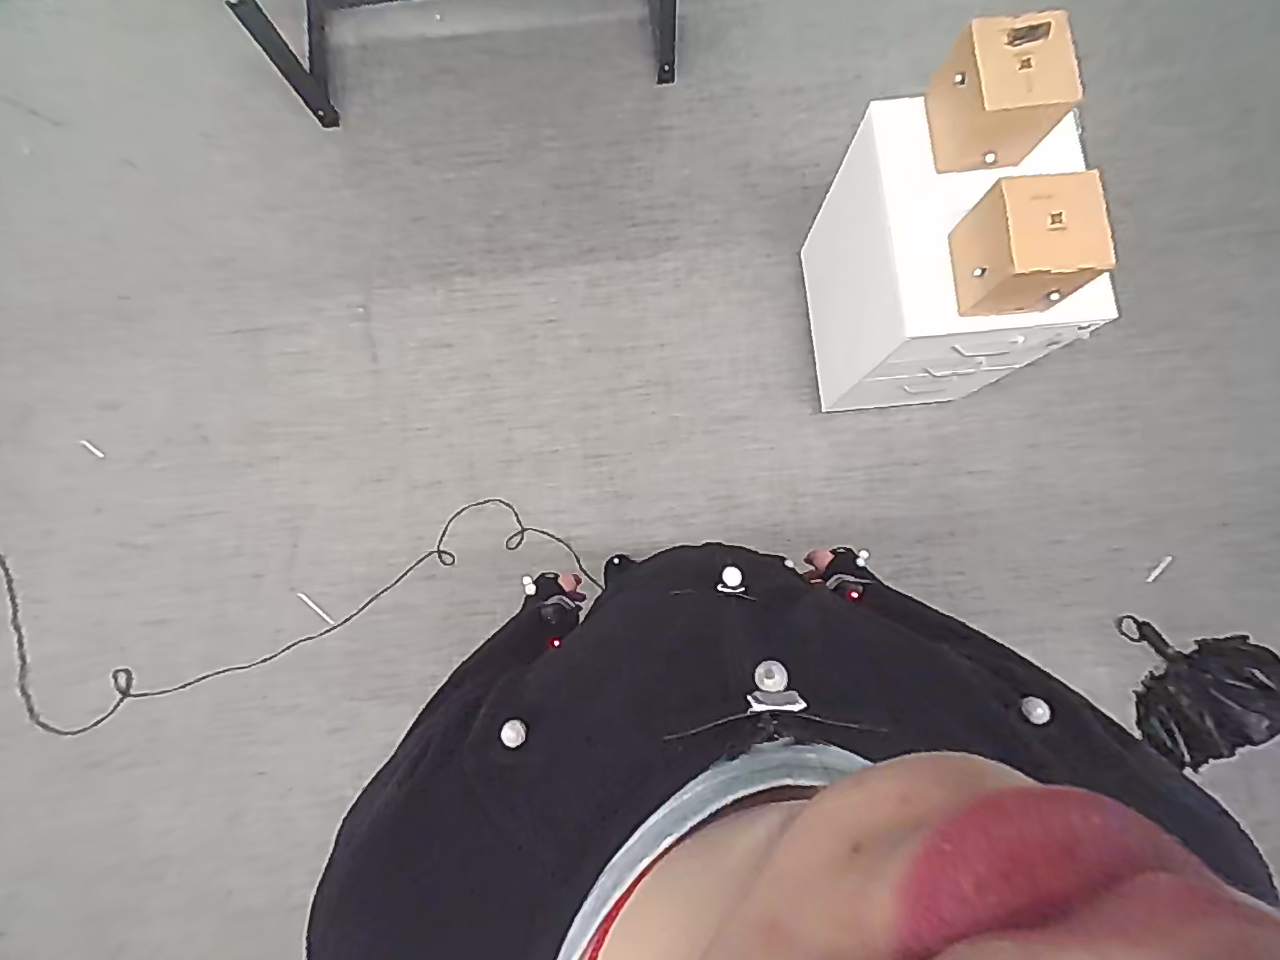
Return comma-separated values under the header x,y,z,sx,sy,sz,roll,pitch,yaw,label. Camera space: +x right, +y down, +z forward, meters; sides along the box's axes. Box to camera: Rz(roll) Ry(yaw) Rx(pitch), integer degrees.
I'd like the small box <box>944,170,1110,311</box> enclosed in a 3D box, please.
x,y,z,sx,sy,sz,roll,pitch,yaw,label
0.678,-0.416,0.968,0.168,0.176,0.179,-4,81,-1,small box

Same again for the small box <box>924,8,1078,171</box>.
x,y,z,sx,sy,sz,roll,pitch,yaw,label
0.654,-0.713,1.001,0.168,0.176,0.179,-6,85,0,small box
